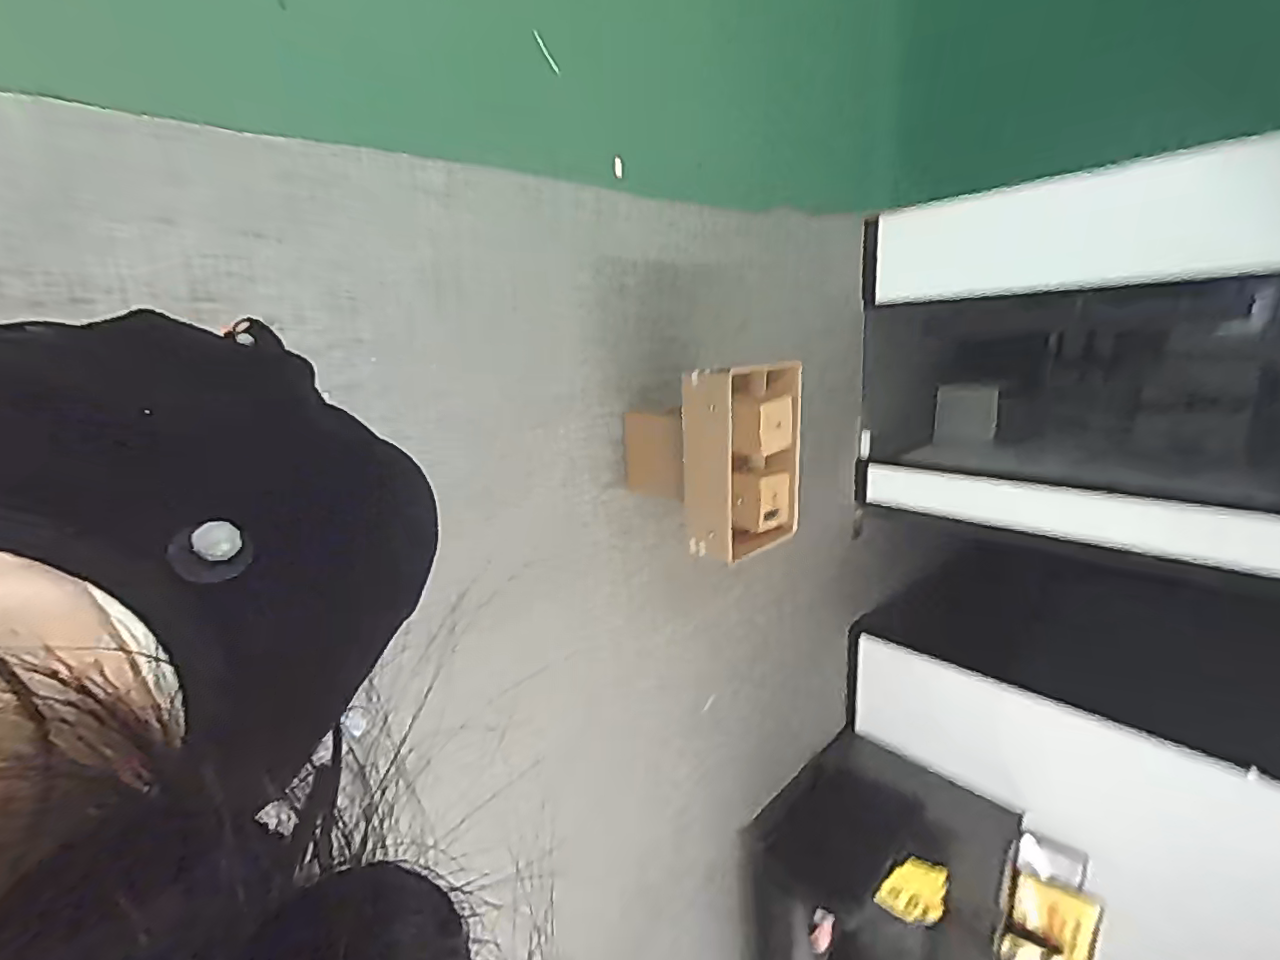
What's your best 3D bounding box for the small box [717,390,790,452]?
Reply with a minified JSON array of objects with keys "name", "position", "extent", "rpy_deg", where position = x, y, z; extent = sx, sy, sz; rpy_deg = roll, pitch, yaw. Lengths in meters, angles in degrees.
[{"name":"small box","position":[0.370,-0.197,1.763],"extent":[0.179,0.176,0.168],"rpy_deg":[-20,113,-39]}]
